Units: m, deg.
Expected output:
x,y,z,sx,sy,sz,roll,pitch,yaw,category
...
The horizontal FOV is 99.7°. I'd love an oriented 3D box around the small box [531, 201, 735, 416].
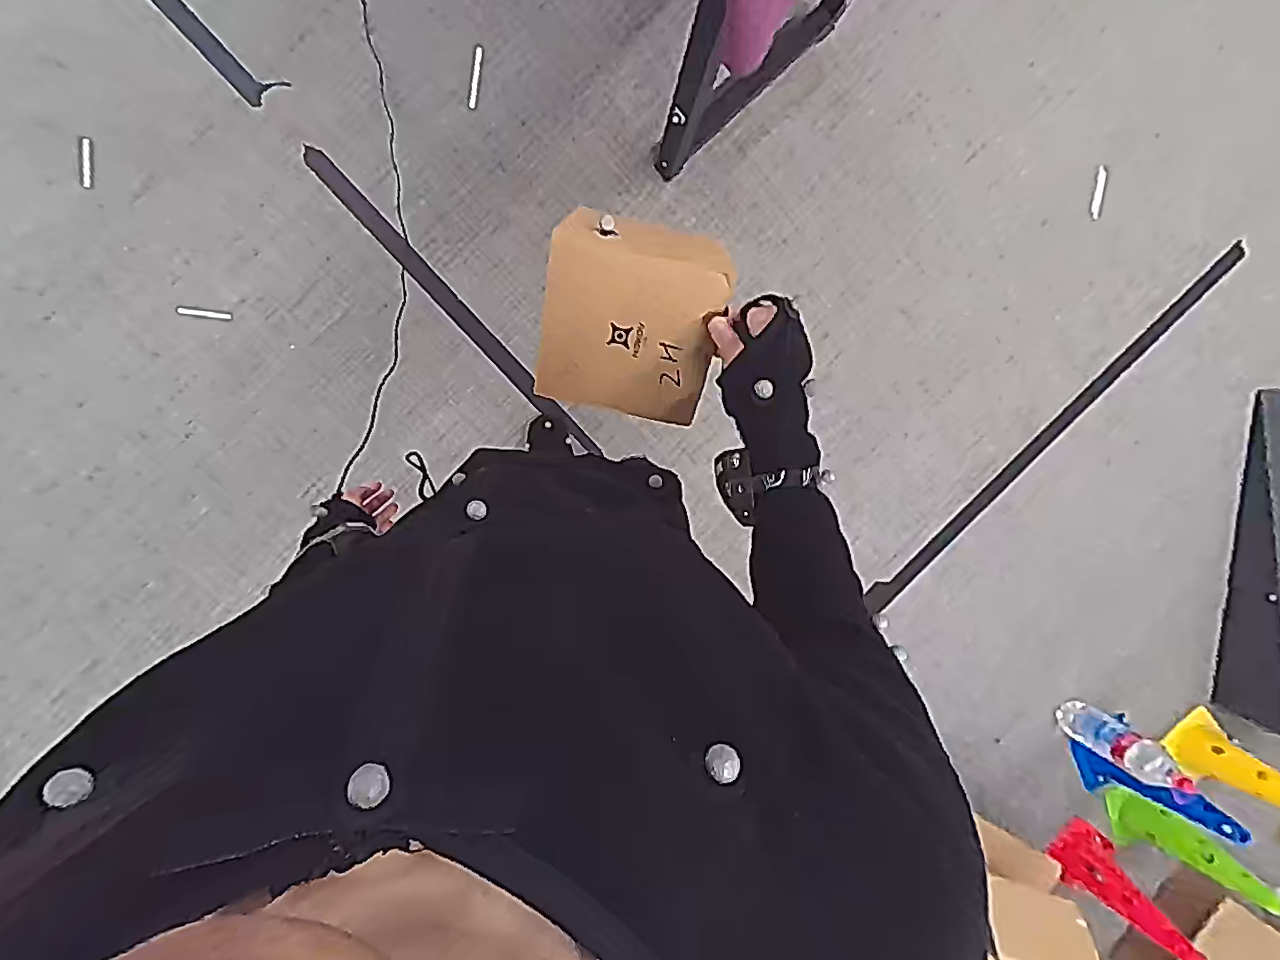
x,y,z,sx,sy,sz,roll,pitch,yaw,category
-0.011,-0.195,0.595,0.179,0.176,0.168,11,124,-5,small box
